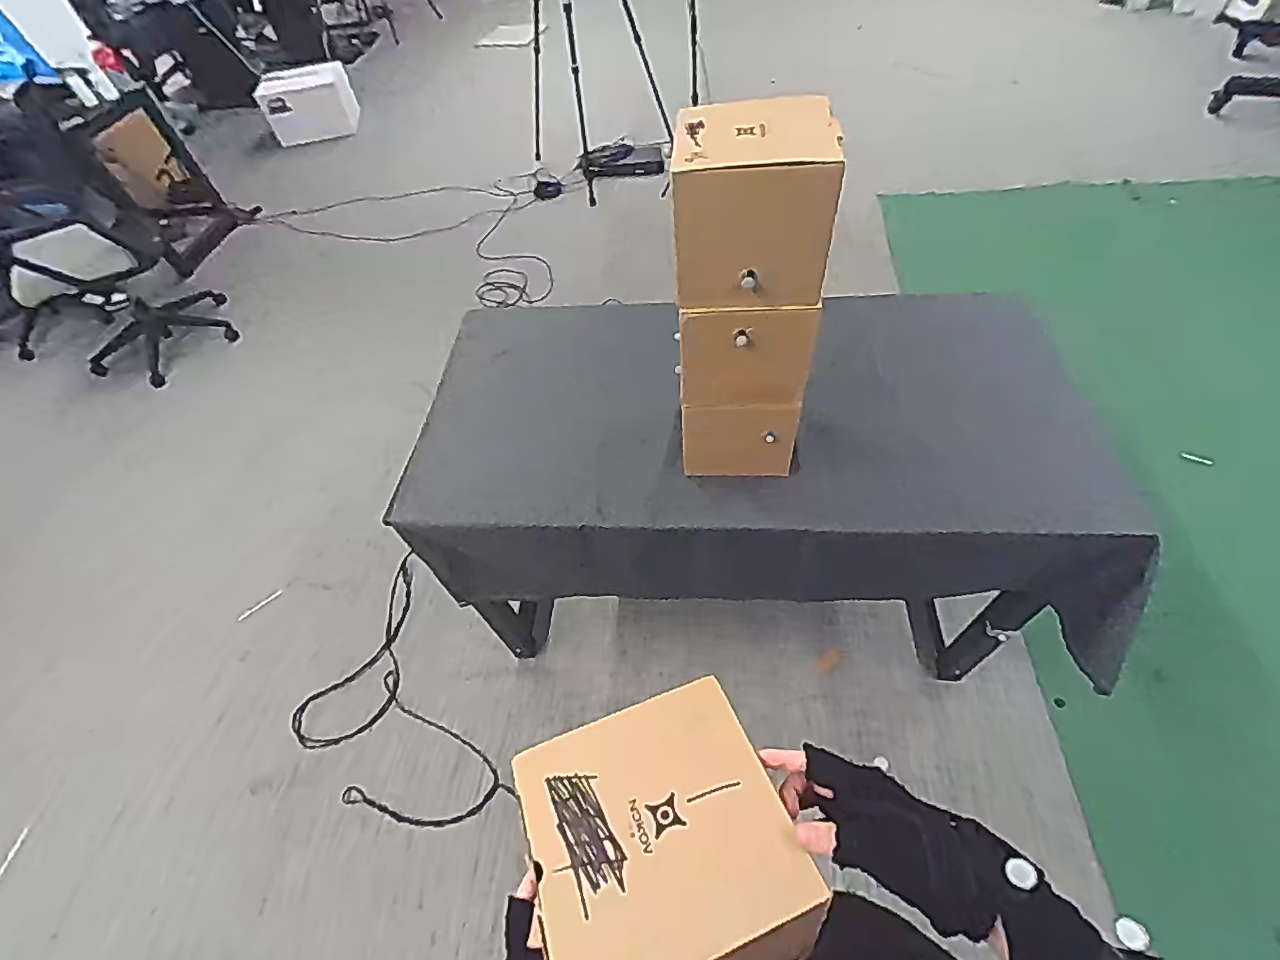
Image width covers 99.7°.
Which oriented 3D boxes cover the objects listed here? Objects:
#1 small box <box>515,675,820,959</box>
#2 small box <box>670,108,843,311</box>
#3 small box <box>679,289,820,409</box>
[{"bbox_3d":[0.018,0.296,0.429,0.179,0.176,0.168,-17,40,-12],"label":"small box"},{"bbox_3d":[0.131,-0.321,0.657,0.179,0.176,0.168,2,53,7],"label":"small box"},{"bbox_3d":[0.148,-0.217,0.783,0.179,0.176,0.168,-1,52,7],"label":"small box"}]
